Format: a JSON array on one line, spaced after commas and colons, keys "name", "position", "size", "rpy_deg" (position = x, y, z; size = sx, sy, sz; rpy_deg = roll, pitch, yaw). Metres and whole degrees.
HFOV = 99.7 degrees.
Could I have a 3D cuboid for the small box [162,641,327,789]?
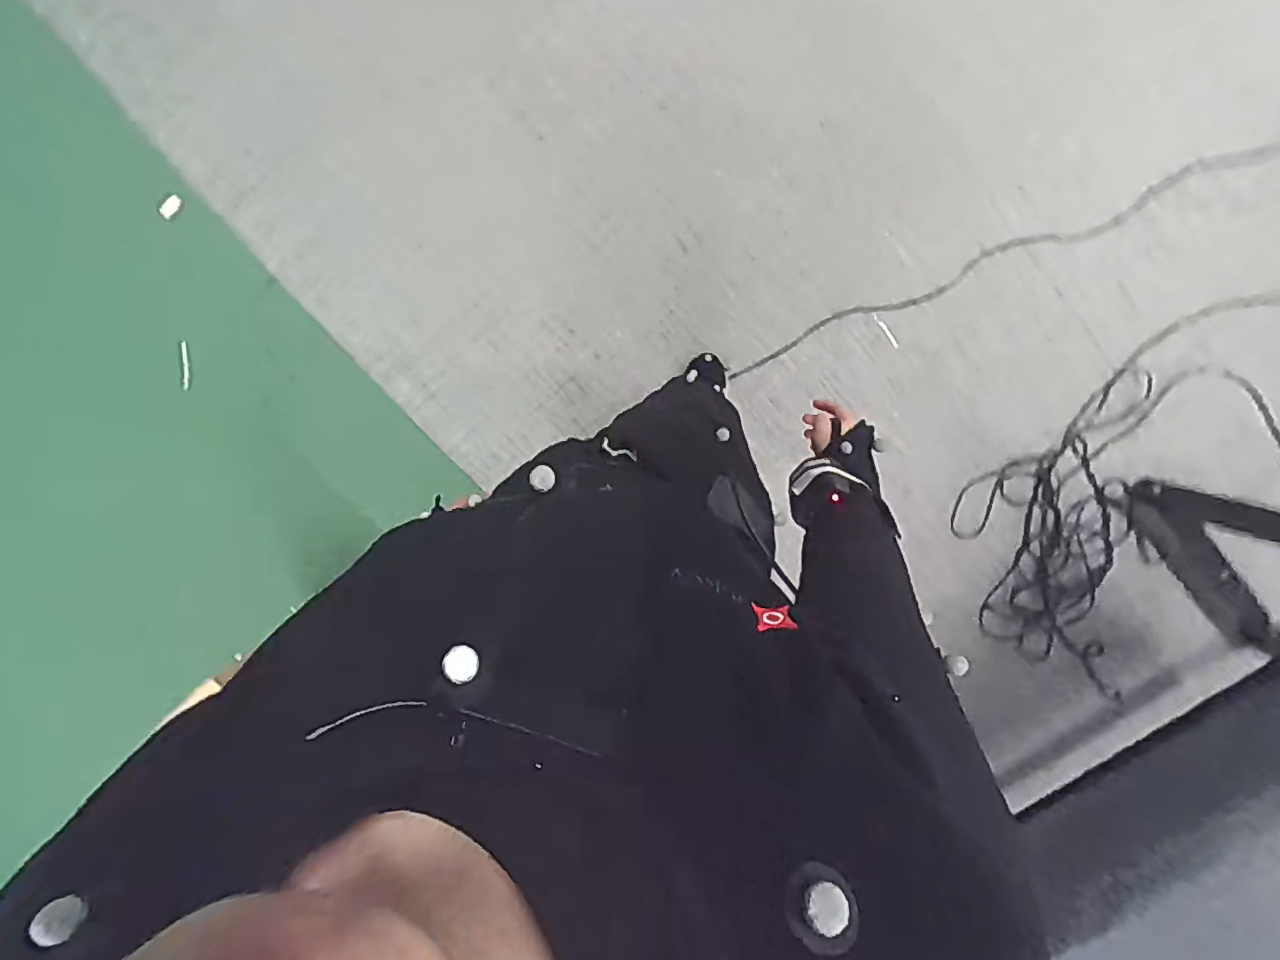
[{"name": "small box", "position": [-0.783, 0.466, 1.092], "size": [0.179, 0.176, 0.168], "rpy_deg": [-42, 99, 10]}]
